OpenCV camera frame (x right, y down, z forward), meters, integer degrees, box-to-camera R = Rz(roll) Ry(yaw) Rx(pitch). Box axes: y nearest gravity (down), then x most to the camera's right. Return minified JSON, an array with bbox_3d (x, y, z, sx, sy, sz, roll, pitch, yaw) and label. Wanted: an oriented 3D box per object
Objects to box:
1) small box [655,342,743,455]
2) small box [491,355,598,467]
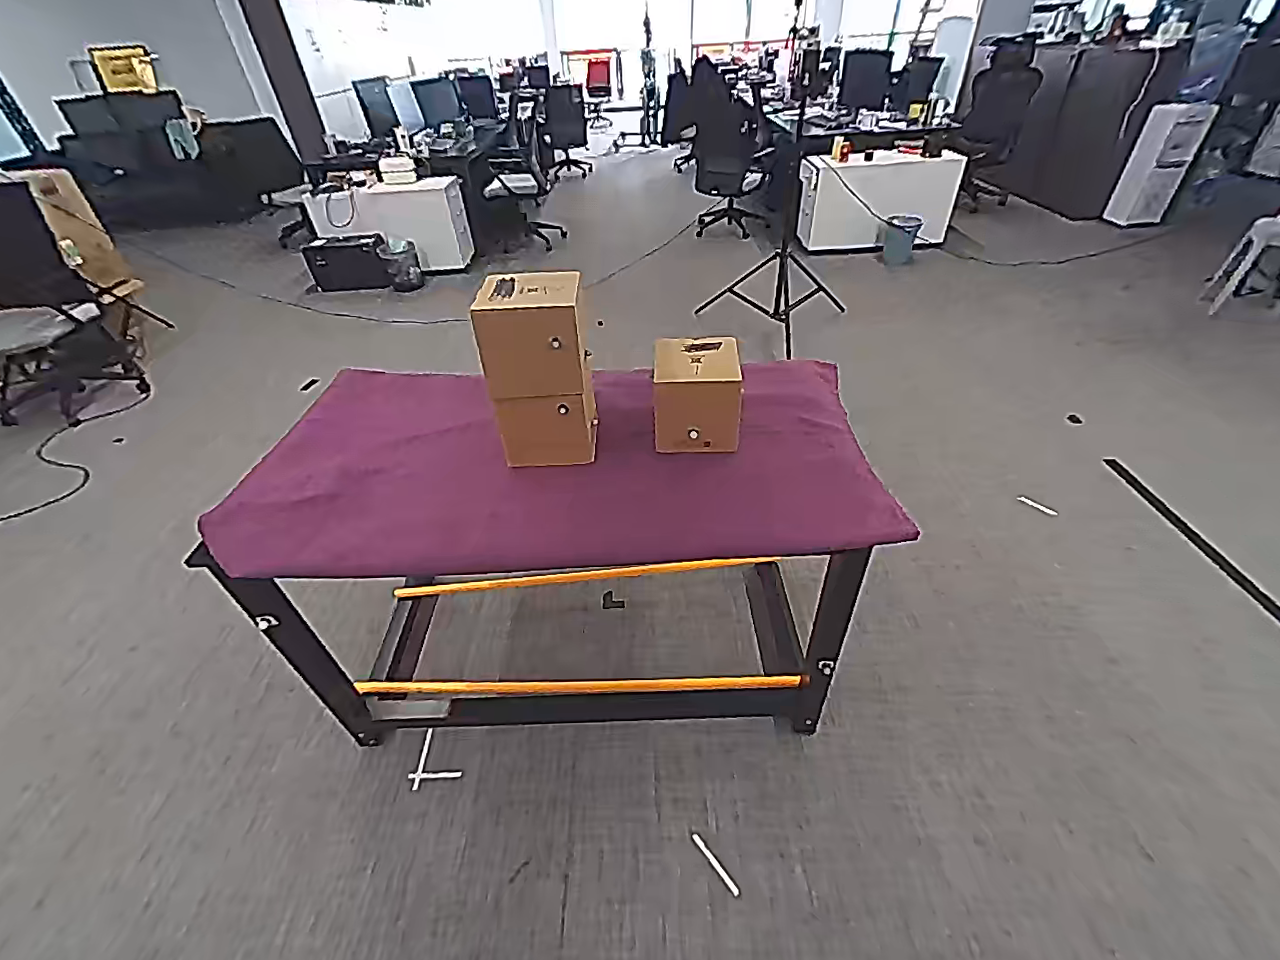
[{"bbox_3d":[0.116,-0.170,1.112,0.168,0.176,0.179,0,40,4],"label":"small box"},{"bbox_3d":[-0.185,-0.139,1.101,0.179,0.176,0.168,-2,39,1],"label":"small box"}]
